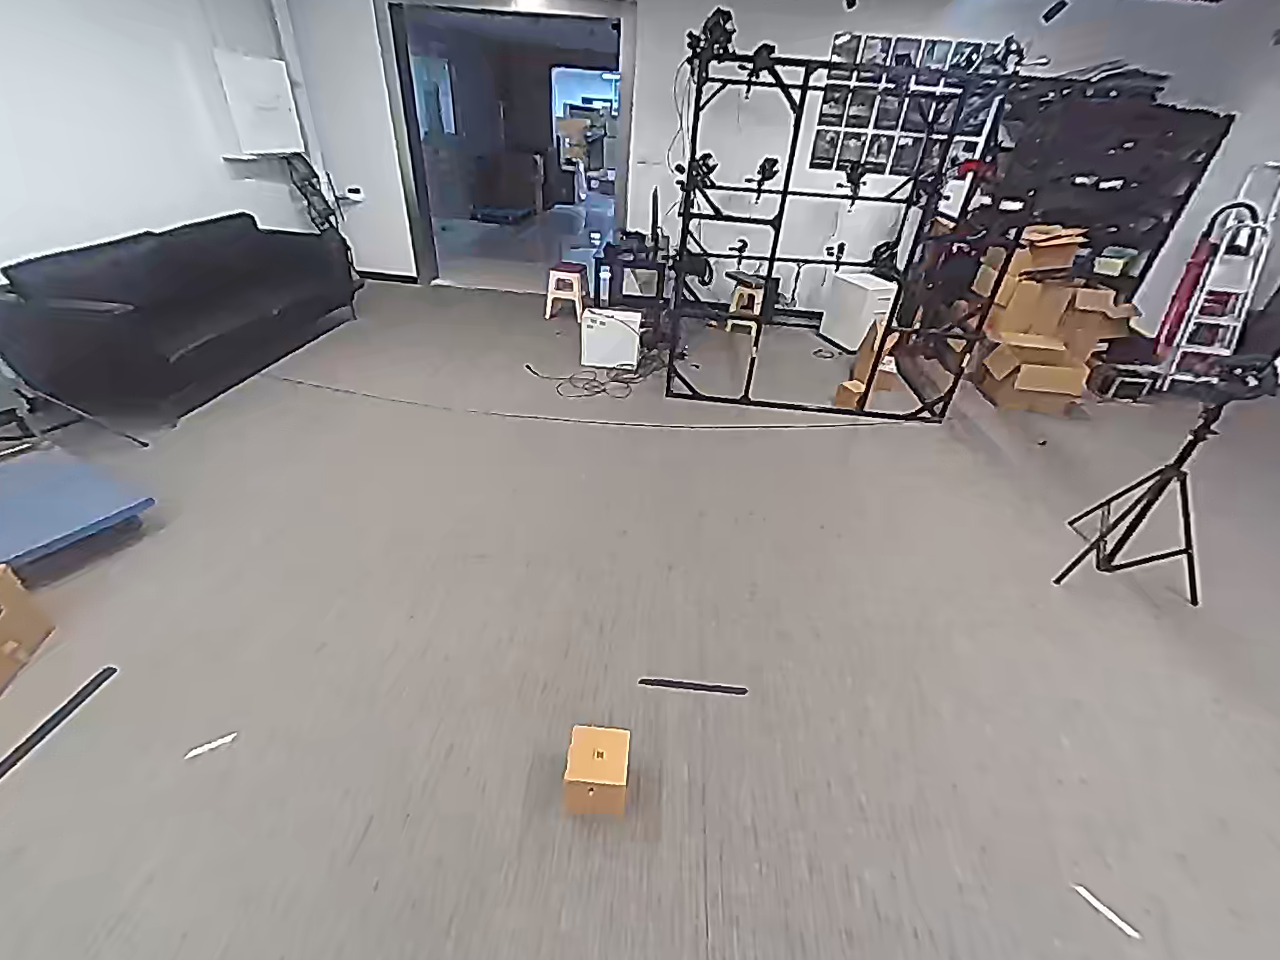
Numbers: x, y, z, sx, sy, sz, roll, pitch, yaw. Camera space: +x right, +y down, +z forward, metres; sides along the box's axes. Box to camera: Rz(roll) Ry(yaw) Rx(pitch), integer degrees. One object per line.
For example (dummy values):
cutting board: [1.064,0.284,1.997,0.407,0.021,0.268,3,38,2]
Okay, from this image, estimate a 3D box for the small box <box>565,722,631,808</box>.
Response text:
small box: [-0.122,0.851,1.612,0.179,0.176,0.168,4,34,2]
